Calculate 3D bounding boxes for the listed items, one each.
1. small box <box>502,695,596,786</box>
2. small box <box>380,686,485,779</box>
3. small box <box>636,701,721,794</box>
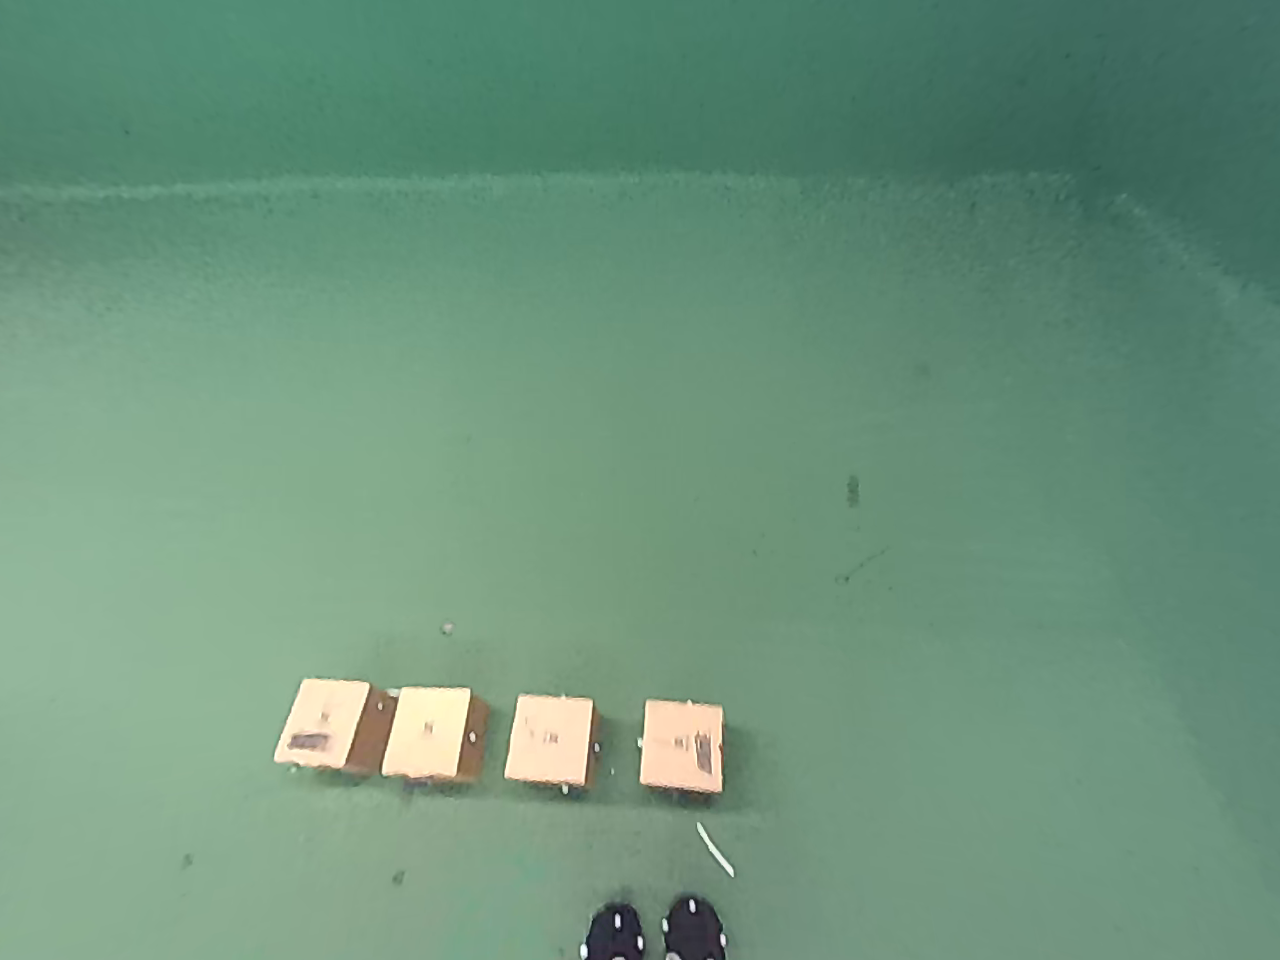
[{"bbox_3d":[-0.200,0.607,1.252,0.179,0.176,0.168,3,58,3],"label":"small box"},{"bbox_3d":[-0.475,0.596,1.270,0.168,0.176,0.179,1,58,2],"label":"small box"},{"bbox_3d":[0.088,0.616,1.238,0.179,0.176,0.168,4,58,5],"label":"small box"}]
